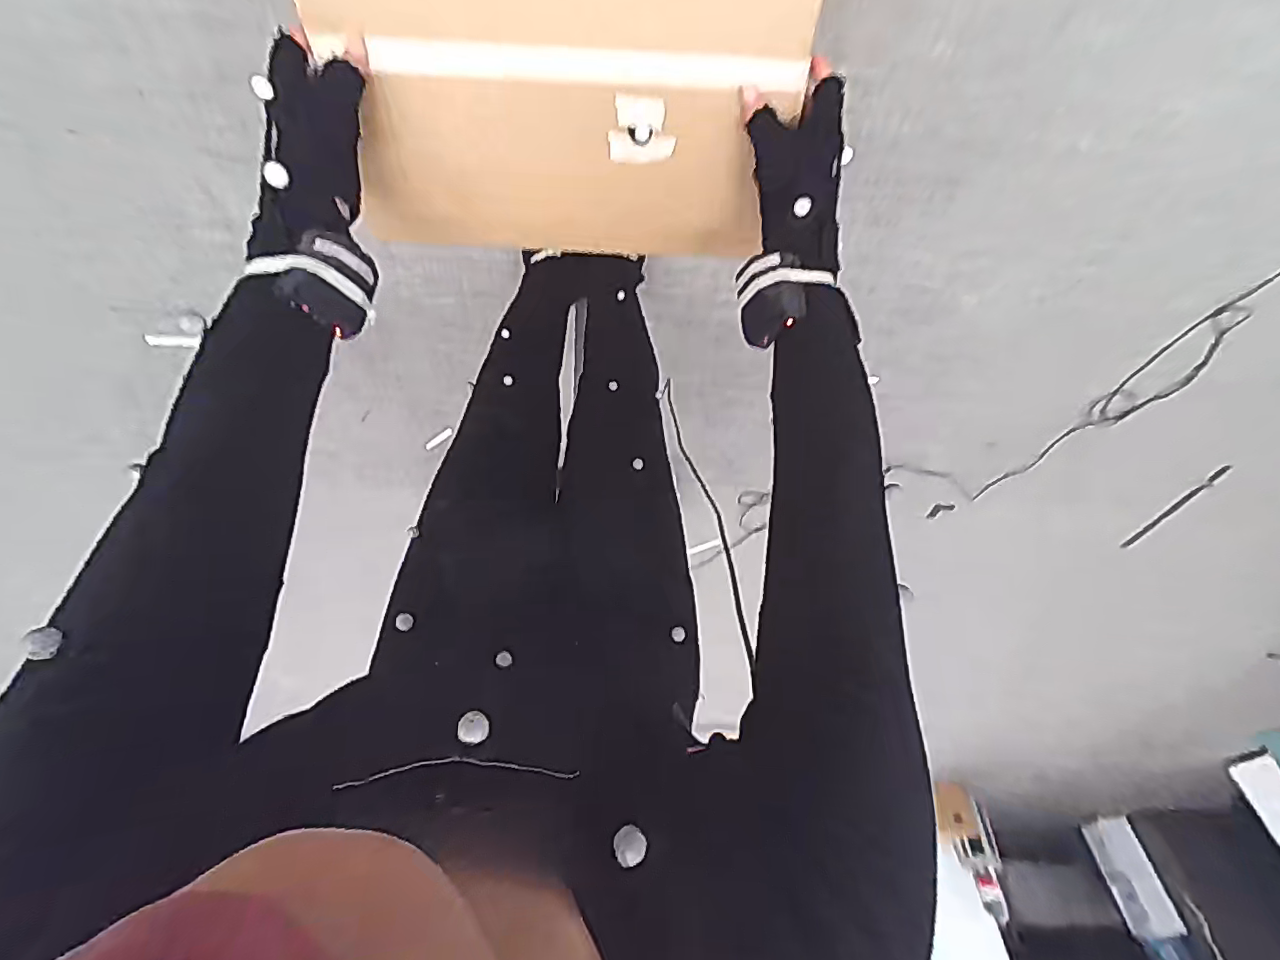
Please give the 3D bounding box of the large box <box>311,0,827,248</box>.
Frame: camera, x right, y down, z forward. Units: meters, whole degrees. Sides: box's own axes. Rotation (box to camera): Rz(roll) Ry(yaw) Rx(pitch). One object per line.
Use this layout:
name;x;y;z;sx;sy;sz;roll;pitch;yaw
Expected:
large box;-0.058;-0.451;0.541;0.408;0.320;0.320;1;137;-2
